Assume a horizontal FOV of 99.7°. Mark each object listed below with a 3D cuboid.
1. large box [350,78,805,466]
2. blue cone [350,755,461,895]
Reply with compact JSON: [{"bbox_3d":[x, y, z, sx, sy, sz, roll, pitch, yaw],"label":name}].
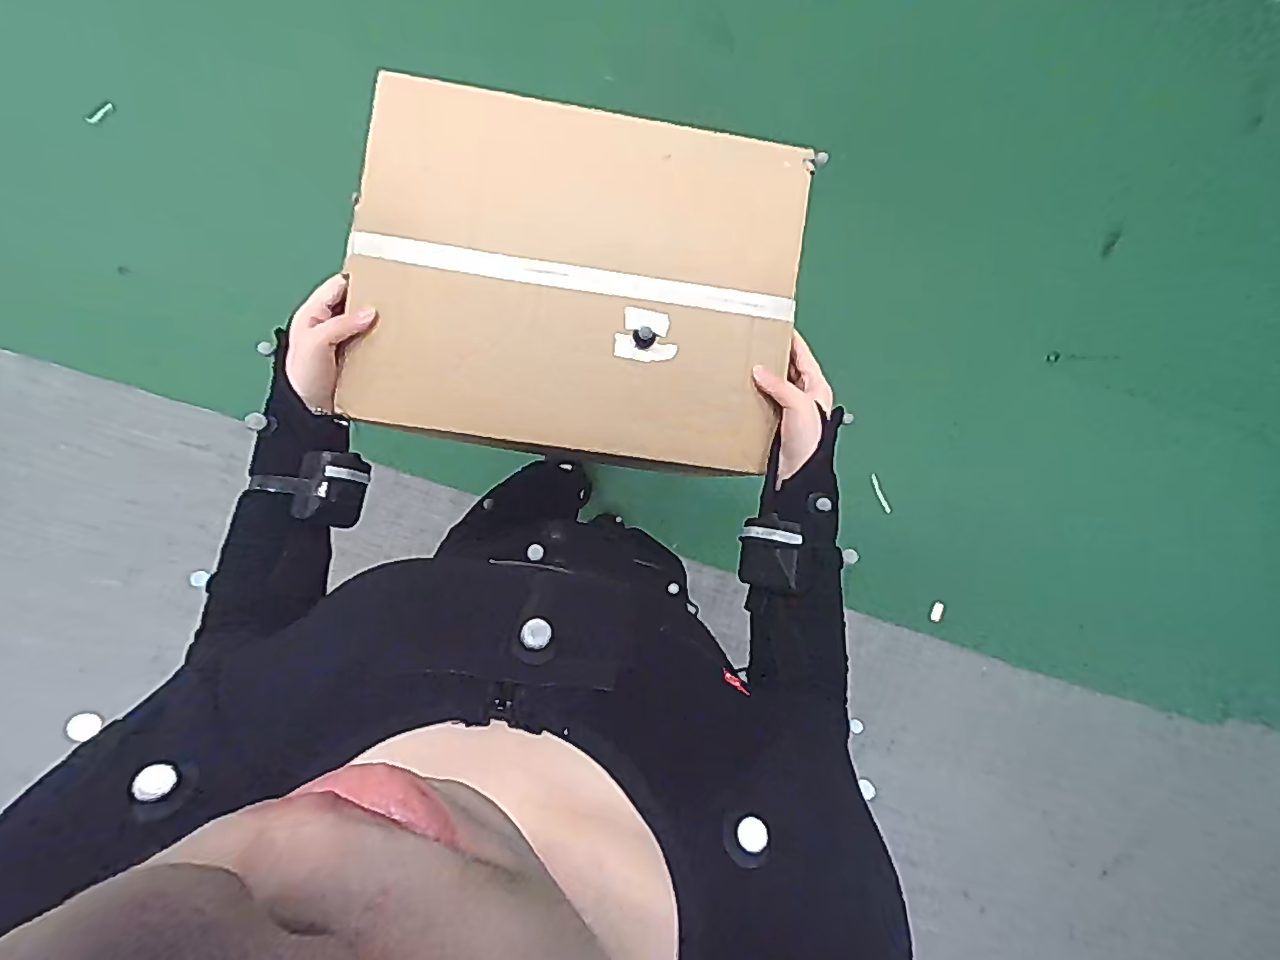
[{"bbox_3d":[-0.066,-0.194,0.655,0.408,0.320,0.320,7,90,-5],"label":"large box"},{"bbox_3d":[-0.588,0.846,1.284,0.193,0.380,0.192,27,86,-2],"label":"blue cone"}]
